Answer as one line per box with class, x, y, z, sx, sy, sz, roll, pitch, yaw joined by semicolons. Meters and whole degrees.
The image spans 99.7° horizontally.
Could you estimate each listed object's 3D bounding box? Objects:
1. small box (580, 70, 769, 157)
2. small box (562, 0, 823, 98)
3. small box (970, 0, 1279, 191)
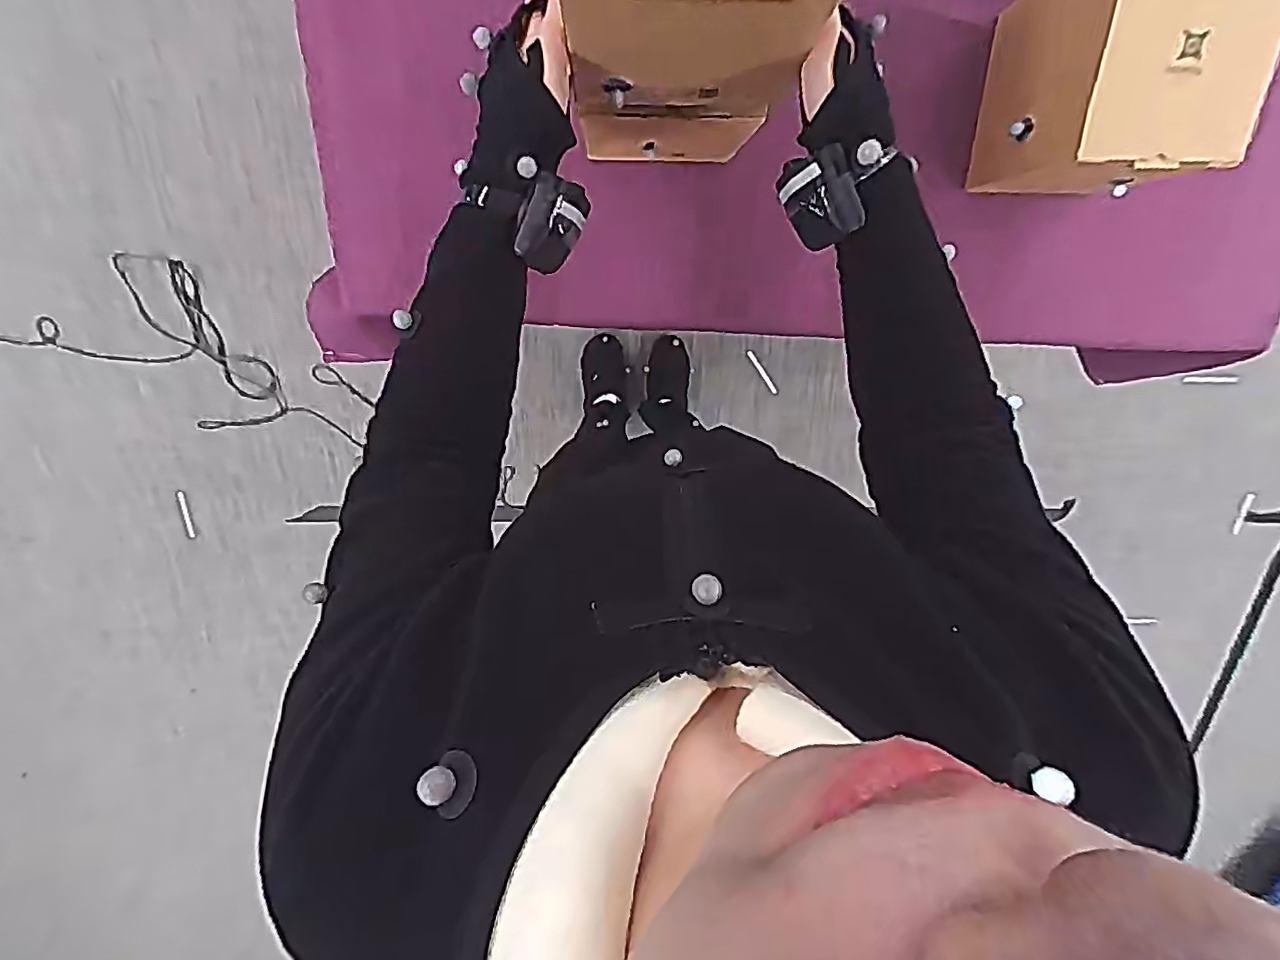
small box;0.026;-0.426;0.514;0.168;0.176;0.179;-1;111;-3
small box;0.033;-0.371;0.337;0.168;0.176;0.179;-1;101;-2
small box;0.473;-0.402;0.547;0.168;0.176;0.179;0;110;-4
